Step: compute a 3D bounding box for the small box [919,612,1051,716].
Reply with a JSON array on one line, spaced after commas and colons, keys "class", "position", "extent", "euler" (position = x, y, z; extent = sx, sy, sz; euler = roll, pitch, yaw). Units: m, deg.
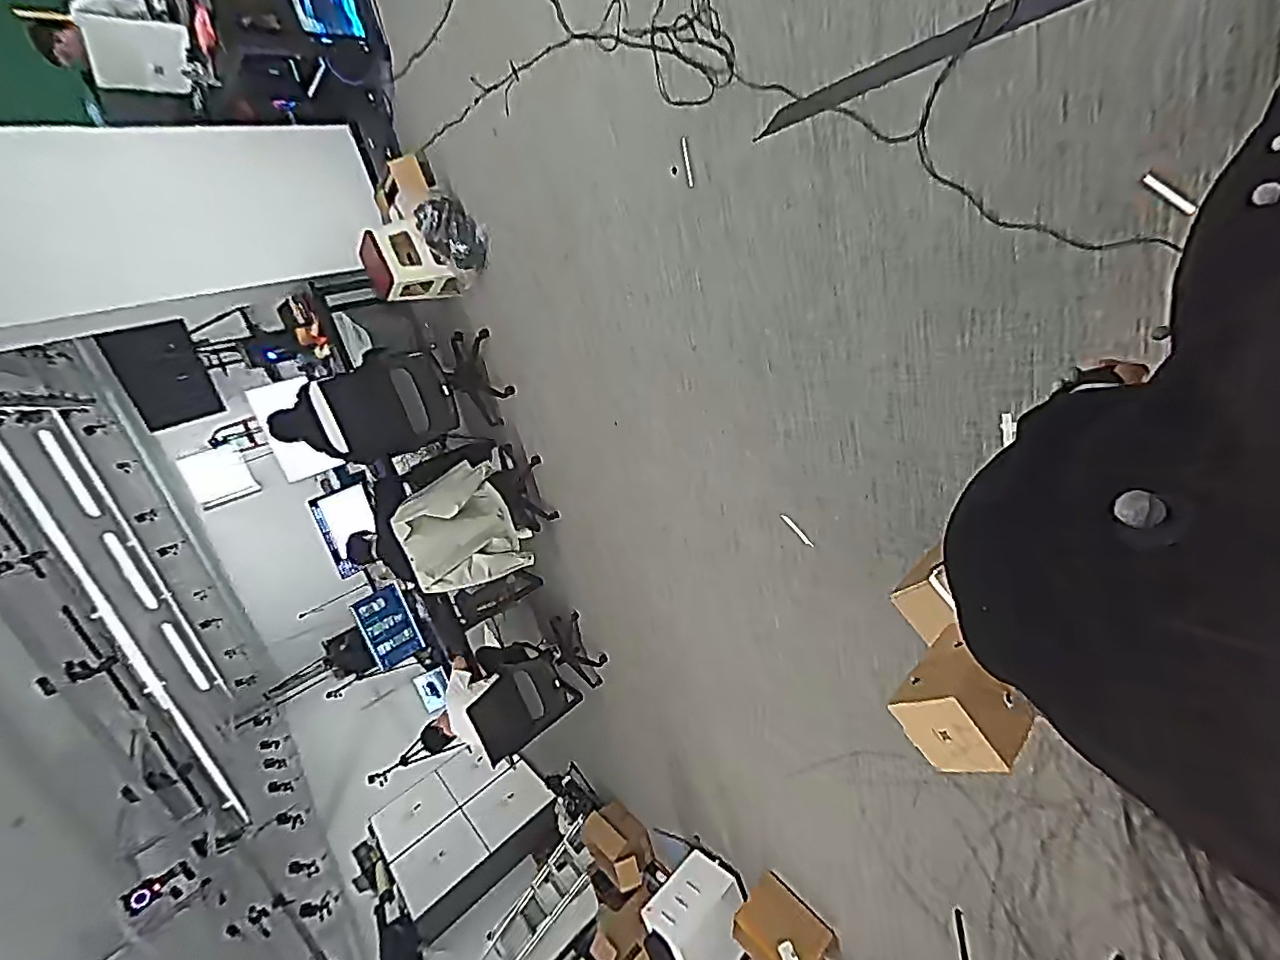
[{"class": "small box", "position": [0.792, 0.426, 1.235], "extent": [0.168, 0.176, 0.179], "euler": [54, 146, 12]}]

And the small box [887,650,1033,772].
[{"class": "small box", "position": [0.674, 0.485, 1.140], "extent": [0.168, 0.176, 0.179], "euler": [54, 144, 10]}]
